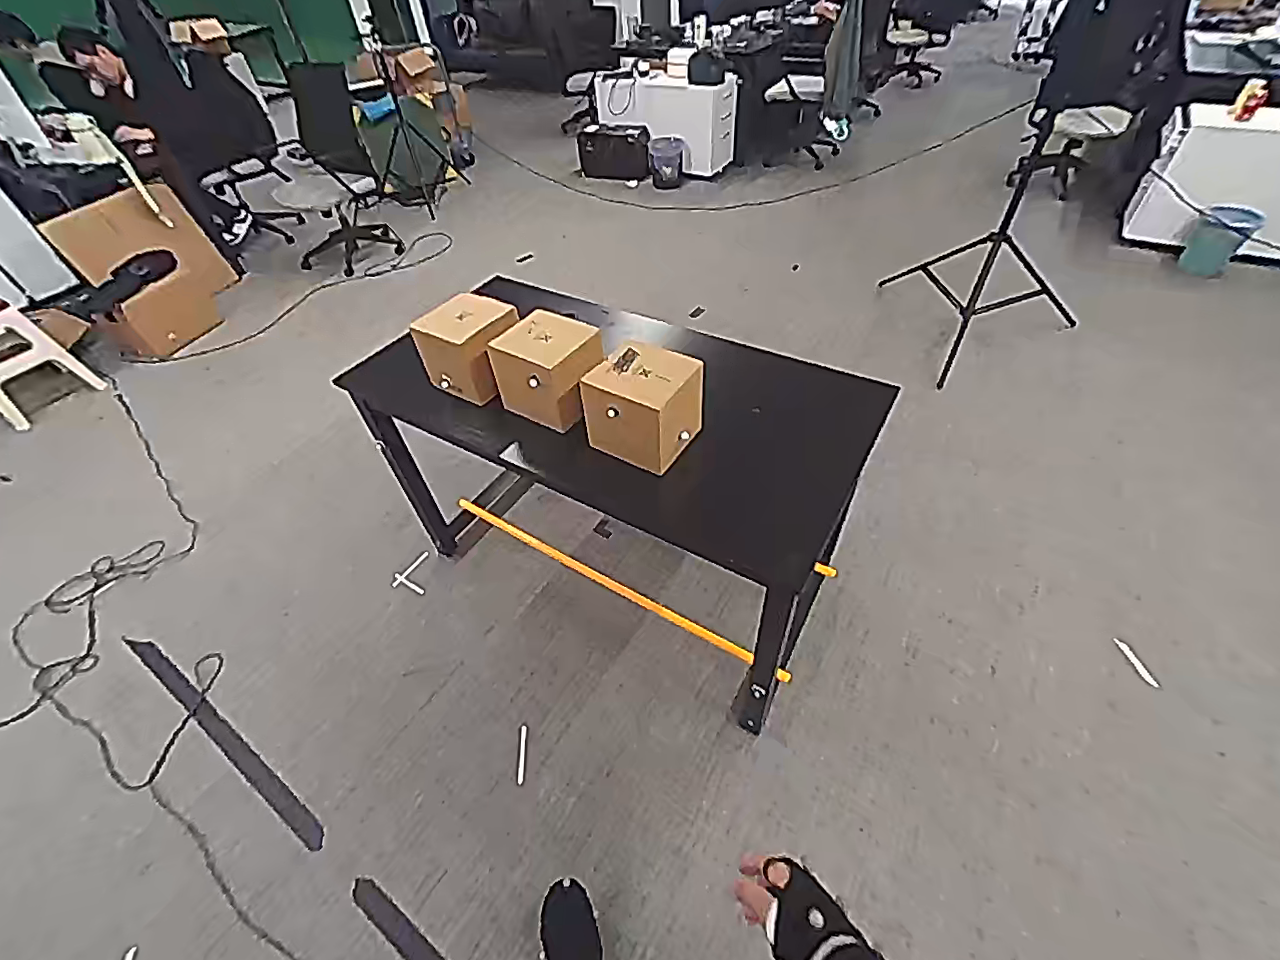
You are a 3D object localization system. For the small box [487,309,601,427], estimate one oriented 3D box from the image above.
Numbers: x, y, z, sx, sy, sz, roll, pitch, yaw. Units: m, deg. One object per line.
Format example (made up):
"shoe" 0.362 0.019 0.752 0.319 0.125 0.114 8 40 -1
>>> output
"small box" -0.192 -0.237 1.162 0.179 0.176 0.168 24 52 25

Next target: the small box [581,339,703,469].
"small box" 0.008 -0.147 1.062 0.179 0.176 0.168 24 53 24

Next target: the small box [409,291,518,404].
"small box" -0.385 -0.305 1.244 0.168 0.176 0.179 22 53 24
